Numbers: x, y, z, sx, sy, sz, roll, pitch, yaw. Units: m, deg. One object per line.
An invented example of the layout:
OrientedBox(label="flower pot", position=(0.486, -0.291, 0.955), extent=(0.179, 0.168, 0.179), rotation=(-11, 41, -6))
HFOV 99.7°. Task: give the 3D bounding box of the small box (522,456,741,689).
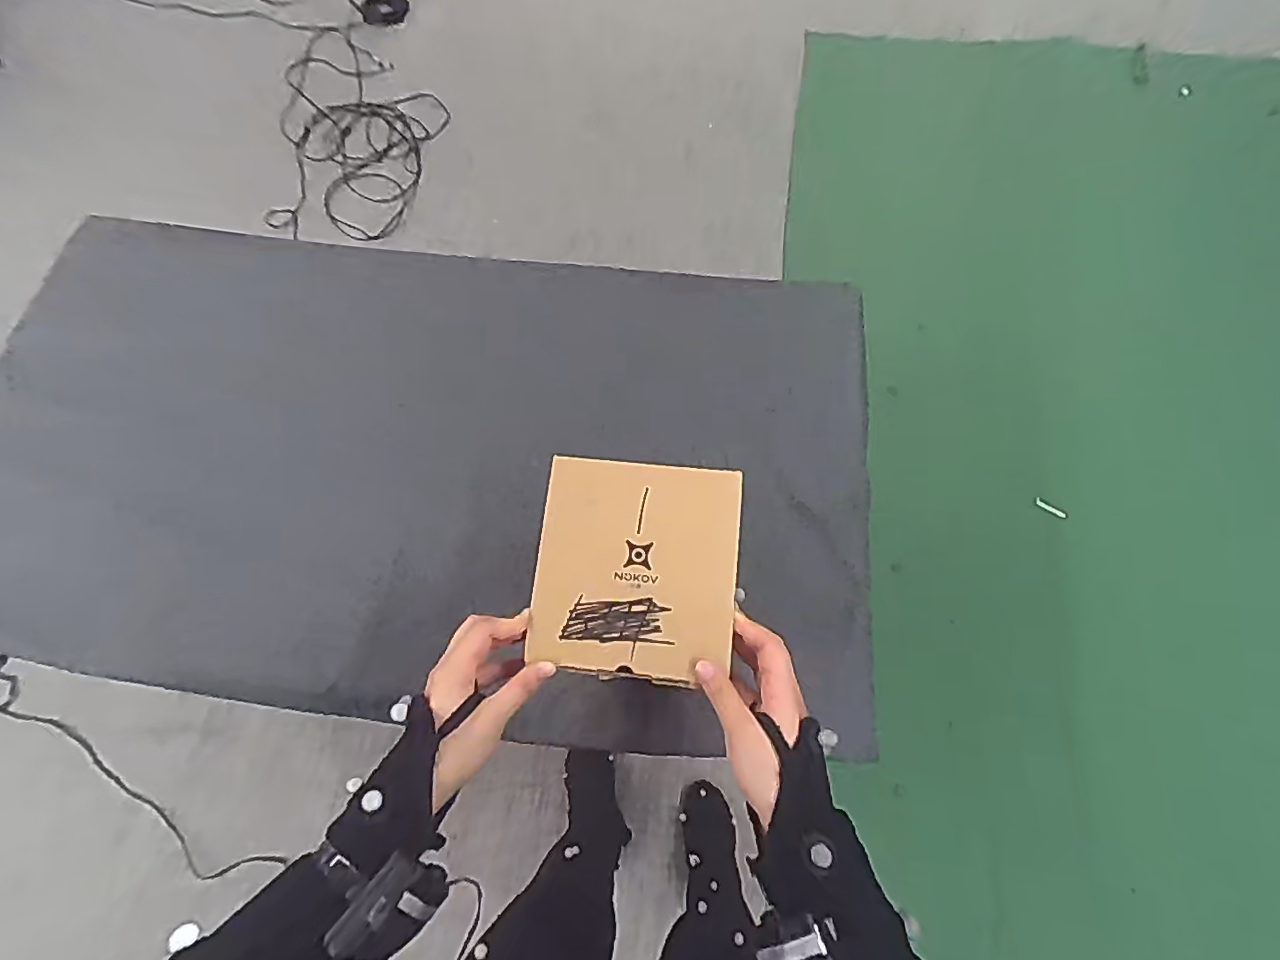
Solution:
OrientedBox(label="small box", position=(0.000, 0.089, 0.519), extent=(0.168, 0.176, 0.179), rotation=(5, 76, 5))
